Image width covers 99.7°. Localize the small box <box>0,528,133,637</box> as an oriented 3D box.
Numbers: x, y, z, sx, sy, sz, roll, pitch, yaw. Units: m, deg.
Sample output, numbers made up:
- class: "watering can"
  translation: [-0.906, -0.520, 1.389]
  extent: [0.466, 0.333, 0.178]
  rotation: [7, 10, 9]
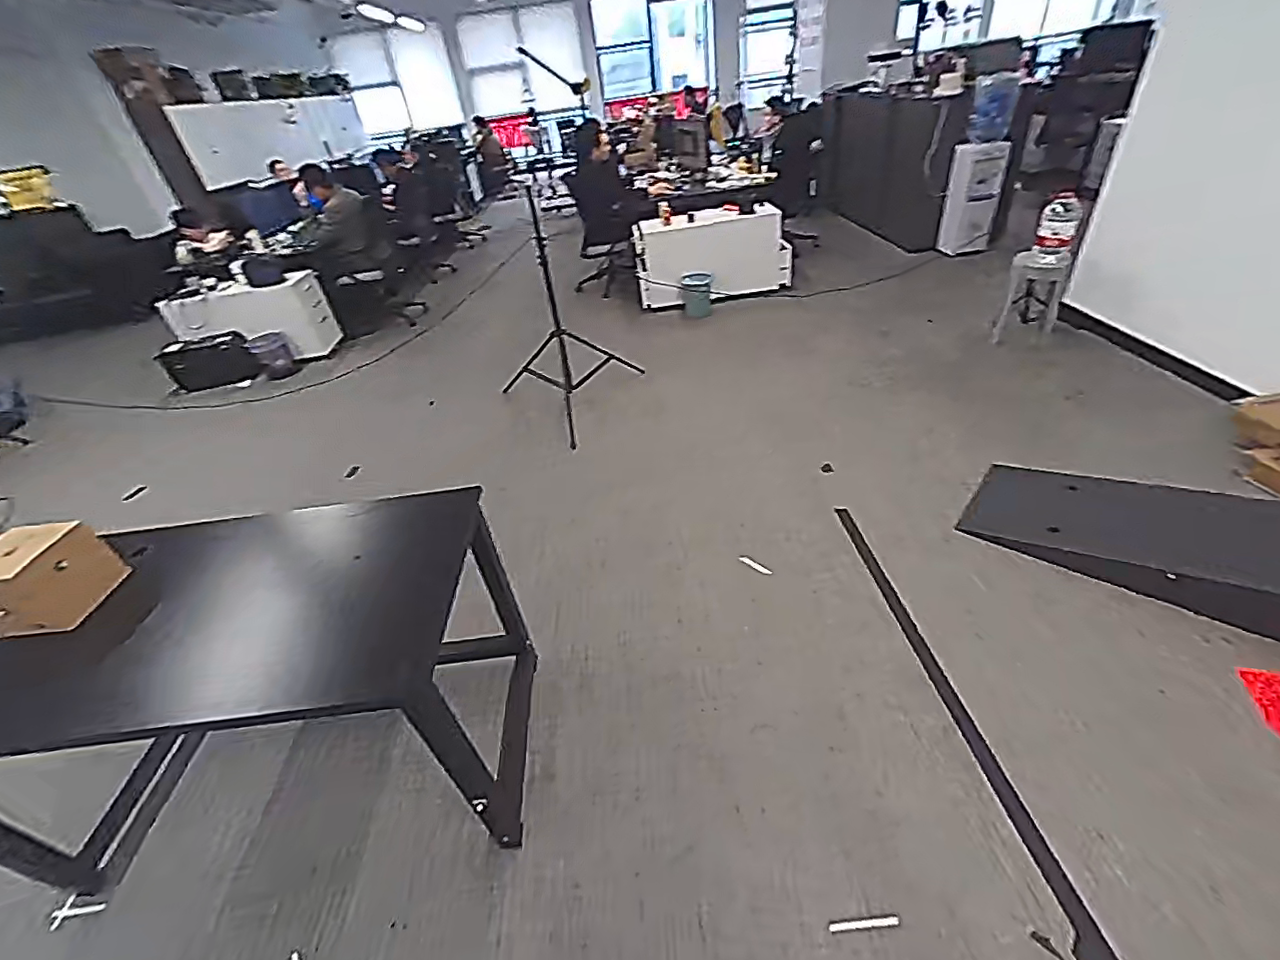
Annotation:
- class: "small box"
  translation: [-1.305, 0.233, 1.201]
  extent: [0.168, 0.176, 0.179]
  rotation: [-6, 36, 4]
